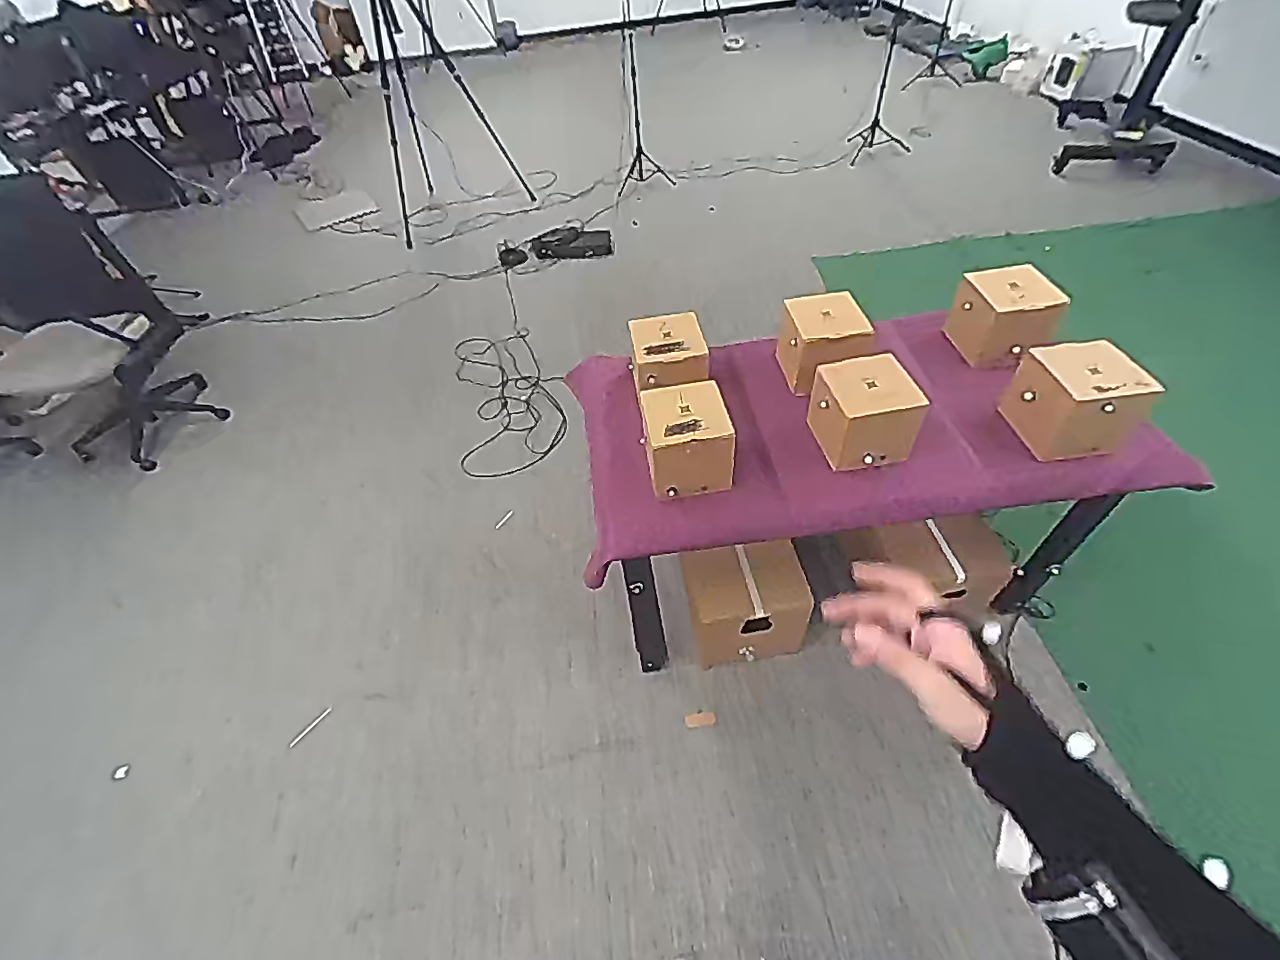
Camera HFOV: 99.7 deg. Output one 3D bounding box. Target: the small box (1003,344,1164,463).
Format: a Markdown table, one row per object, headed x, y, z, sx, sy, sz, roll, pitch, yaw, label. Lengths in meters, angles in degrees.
| x | y | z | sx | sy | sz | roll | pitch | yaw | label |
| --- | --- | --- | --- | --- | --- | --- | --- | --- | --- |
| 0.907 | -0.159 | 1.131 | 0.168 | 0.176 | 0.179 | -7 | 46 | 3 | small box |

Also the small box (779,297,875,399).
| x | y | z | sx | sy | sz | roll | pitch | yaw | label |
| --- | --- | --- | --- | --- | --- | --- | --- | --- | --- |
| 0.452 | -0.326 | 1.342 | 0.168 | 0.176 | 0.179 | -8 | 49 | 0 | small box |

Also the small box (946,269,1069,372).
| x | y | z | sx | sy | sz | roll | pitch | yaw | label |
| --- | --- | --- | --- | --- | --- | --- | --- | --- | --- |
| 0.895 | -0.394 | 1.341 | 0.168 | 0.176 | 0.179 | -8 | 49 | 3 | small box |

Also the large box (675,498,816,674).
| x | y | z | sx | sy | sz | roll | pitch | yaw | label |
| --- | --- | --- | --- | --- | --- | --- | --- | --- | --- |
| 0.305 | 0.323 | 1.668 | 0.320 | 0.320 | 0.408 | -9 | 47 | -2 | large box |

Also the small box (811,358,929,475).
| x | y | z | sx | sy | sz | roll | pitch | yaw | label |
| --- | --- | --- | --- | --- | --- | --- | --- | --- | --- |
| 0.482 | -0.136 | 1.167 | 0.168 | 0.176 | 0.179 | -10 | 48 | 0 | small box |

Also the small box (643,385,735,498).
| x | y | z | sx | sy | sz | roll | pitch | yaw | label |
| --- | --- | --- | --- | --- | --- | --- | --- | --- | --- |
| 0.103 | -0.075 | 1.157 | 0.168 | 0.176 | 0.179 | -9 | 47 | -2 | small box |
